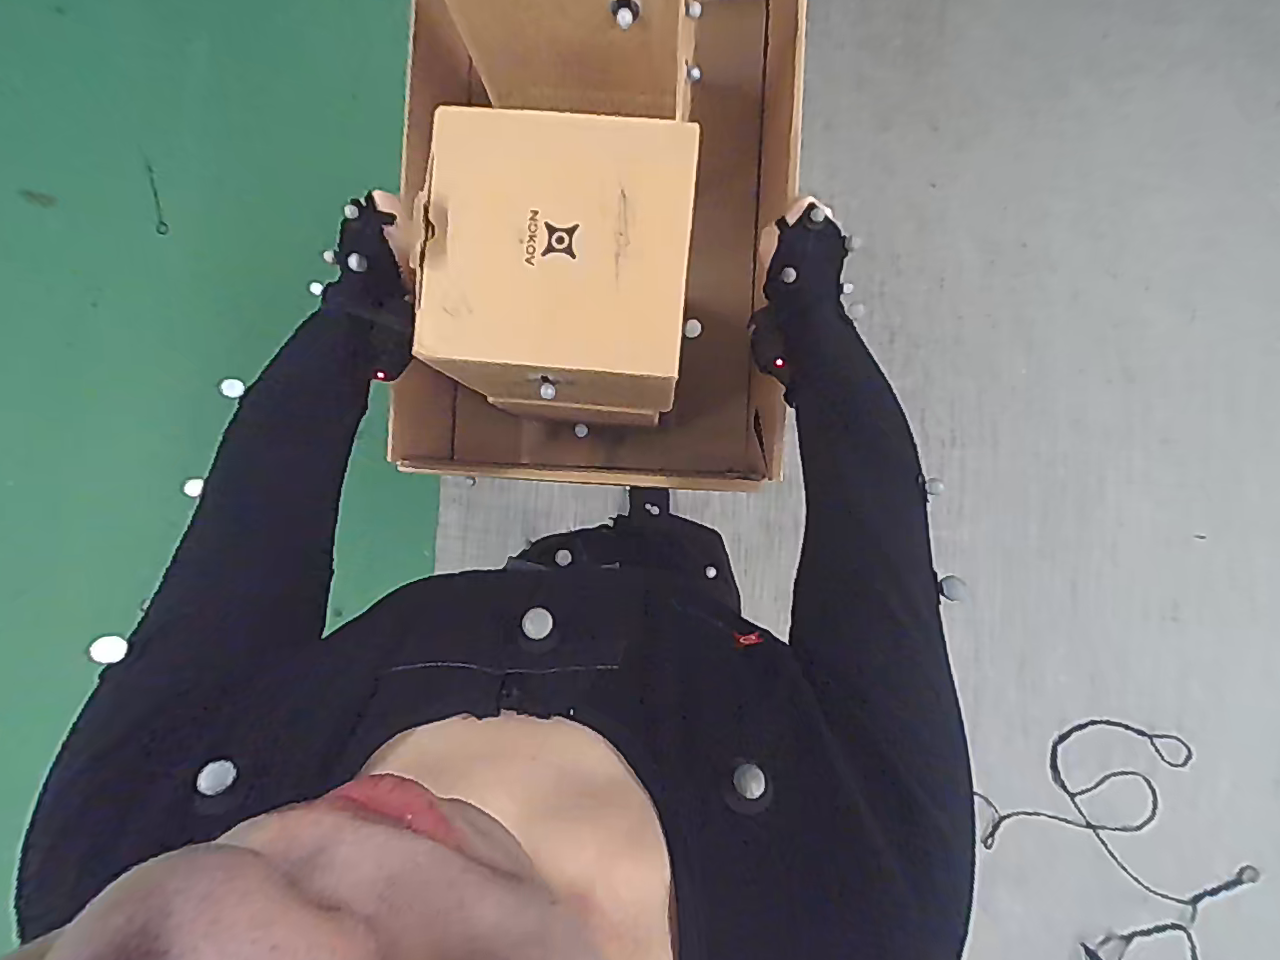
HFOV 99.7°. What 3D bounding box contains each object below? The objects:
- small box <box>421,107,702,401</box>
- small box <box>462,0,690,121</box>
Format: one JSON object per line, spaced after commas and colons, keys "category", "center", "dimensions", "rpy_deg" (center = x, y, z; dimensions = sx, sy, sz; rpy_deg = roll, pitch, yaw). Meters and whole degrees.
{"category": "small box", "center": [-0.051, -0.160, 0.437], "dimensions": [0.179, 0.176, 0.168], "rpy_deg": [5, 91, 1]}
{"category": "small box", "center": [-0.046, -0.422, 0.433], "dimensions": [0.179, 0.176, 0.168], "rpy_deg": [6, 92, 0]}
